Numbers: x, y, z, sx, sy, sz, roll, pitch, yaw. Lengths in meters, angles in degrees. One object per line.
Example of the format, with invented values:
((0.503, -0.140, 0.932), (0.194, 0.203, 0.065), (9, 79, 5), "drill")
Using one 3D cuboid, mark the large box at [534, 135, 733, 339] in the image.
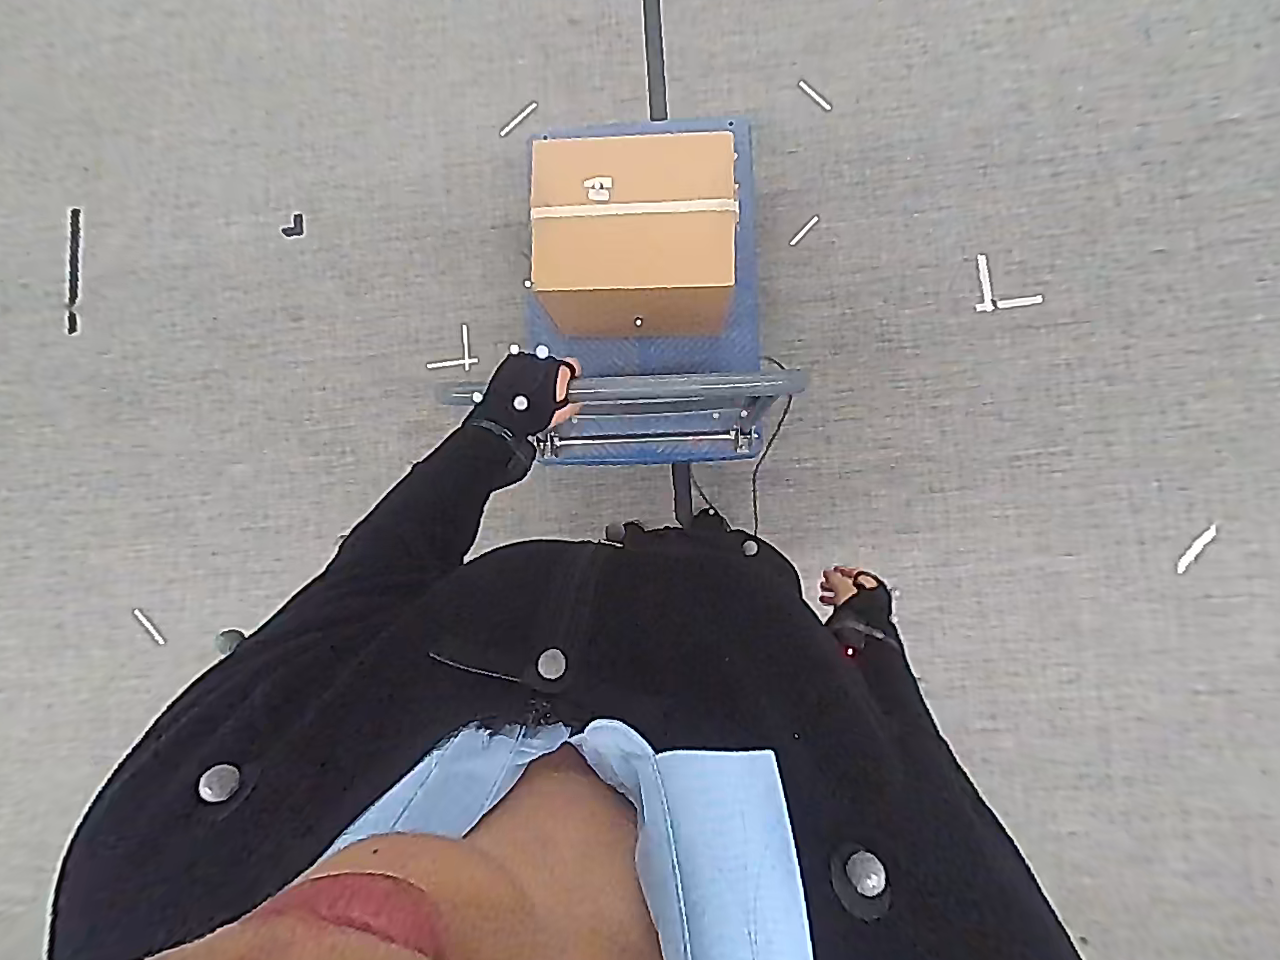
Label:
((-0.003, -0.522, 1.231), (0.408, 0.320, 0.320), (0, 86, 6), "large box")
